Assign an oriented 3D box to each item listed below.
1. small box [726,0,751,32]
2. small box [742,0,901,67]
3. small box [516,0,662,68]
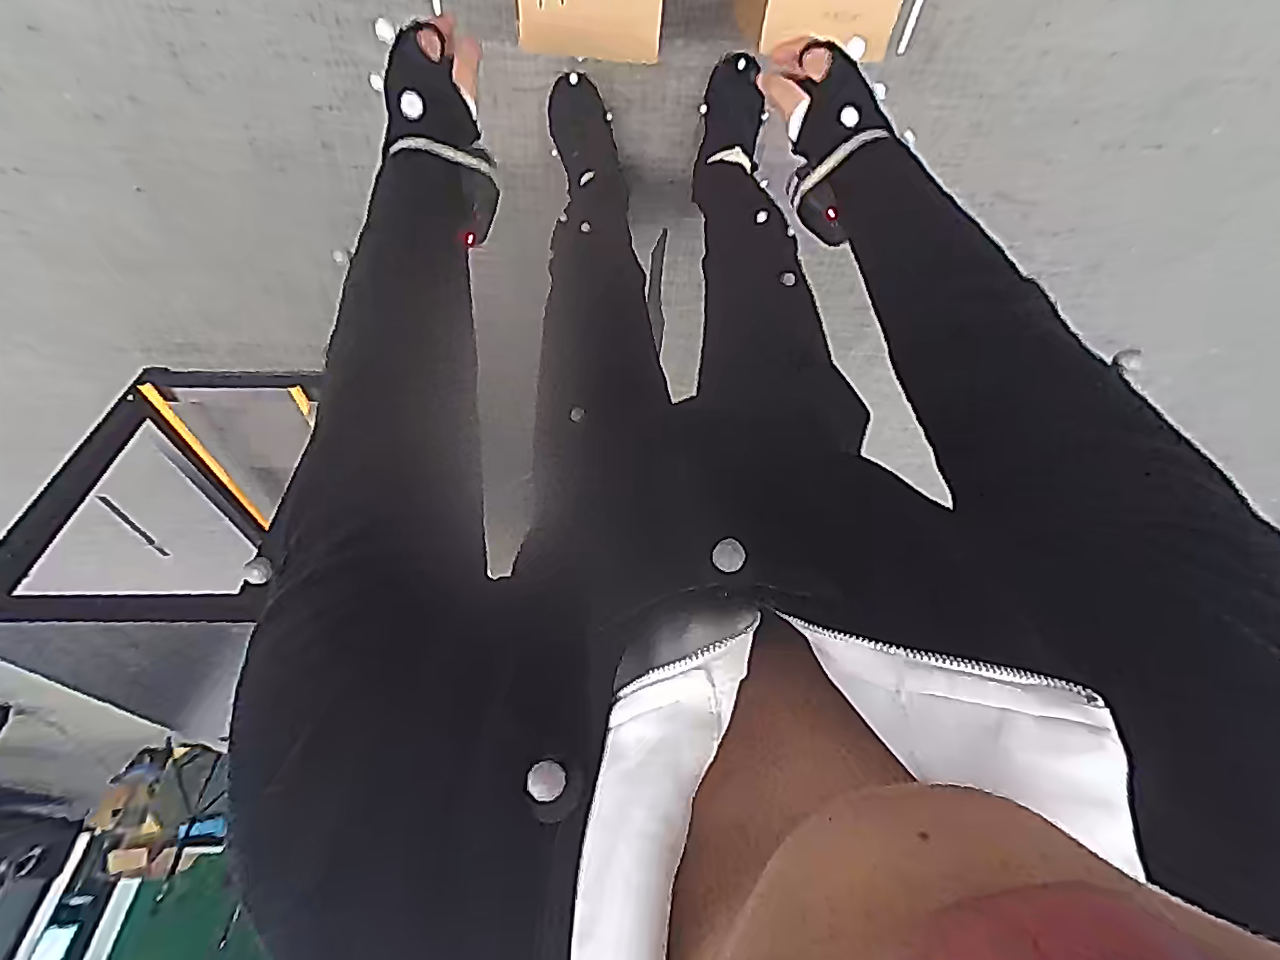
[{"bbox_3d":[0.231,-0.779,0.791,0.179,0.176,0.168,0,142,-3],"label":"small box"},{"bbox_3d":[0.234,-0.659,0.681,0.168,0.176,0.179,1,143,-4],"label":"small box"},{"bbox_3d":[-0.060,-0.646,0.673,0.179,0.176,0.168,2,141,-7],"label":"small box"}]
